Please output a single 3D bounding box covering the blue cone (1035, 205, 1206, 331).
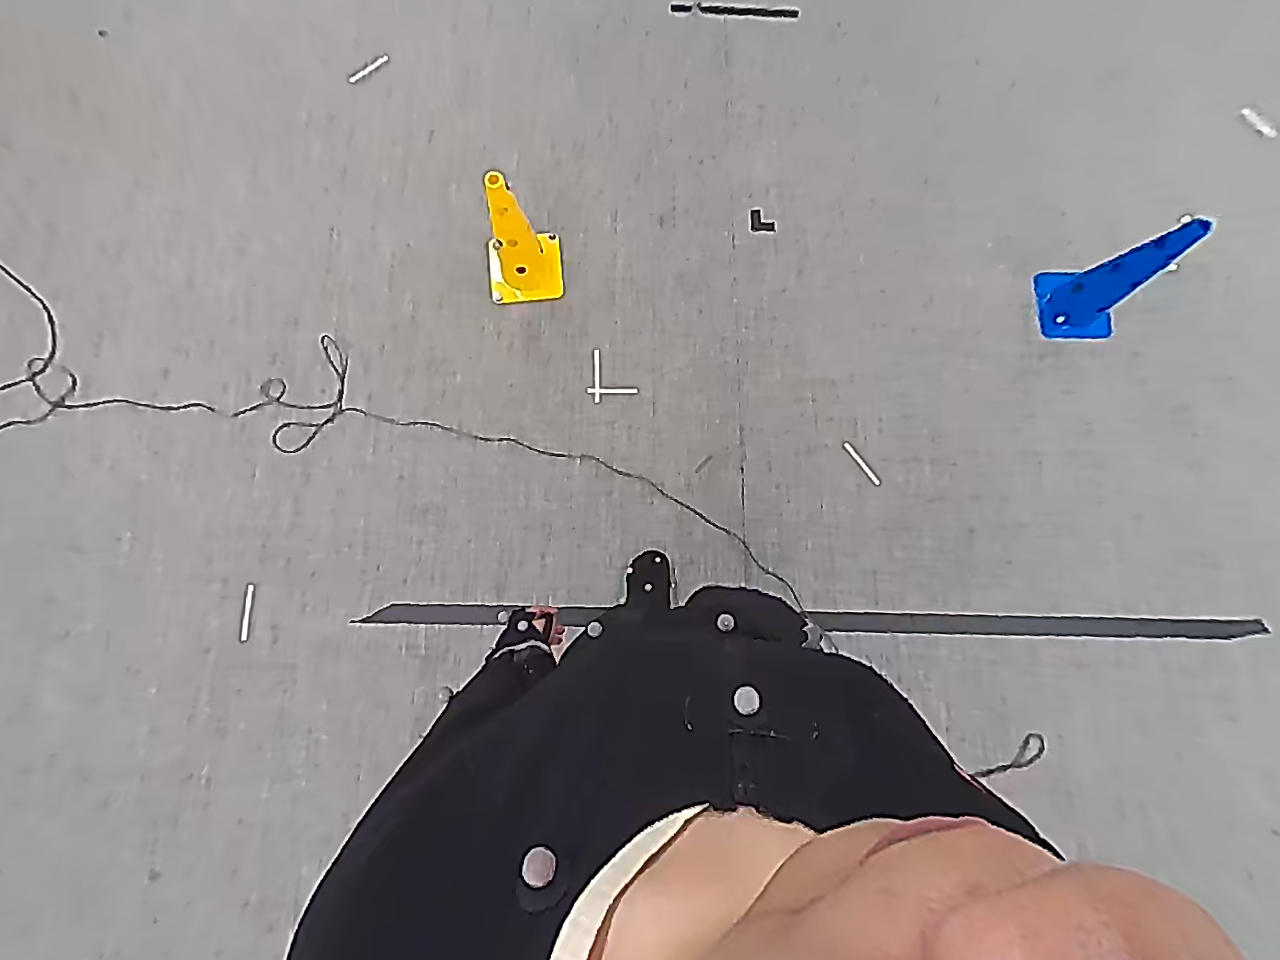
[{"bbox_3d":[1.215,-0.538,1.357,0.193,0.380,0.192,1,79,-1],"label":"blue cone"}]
